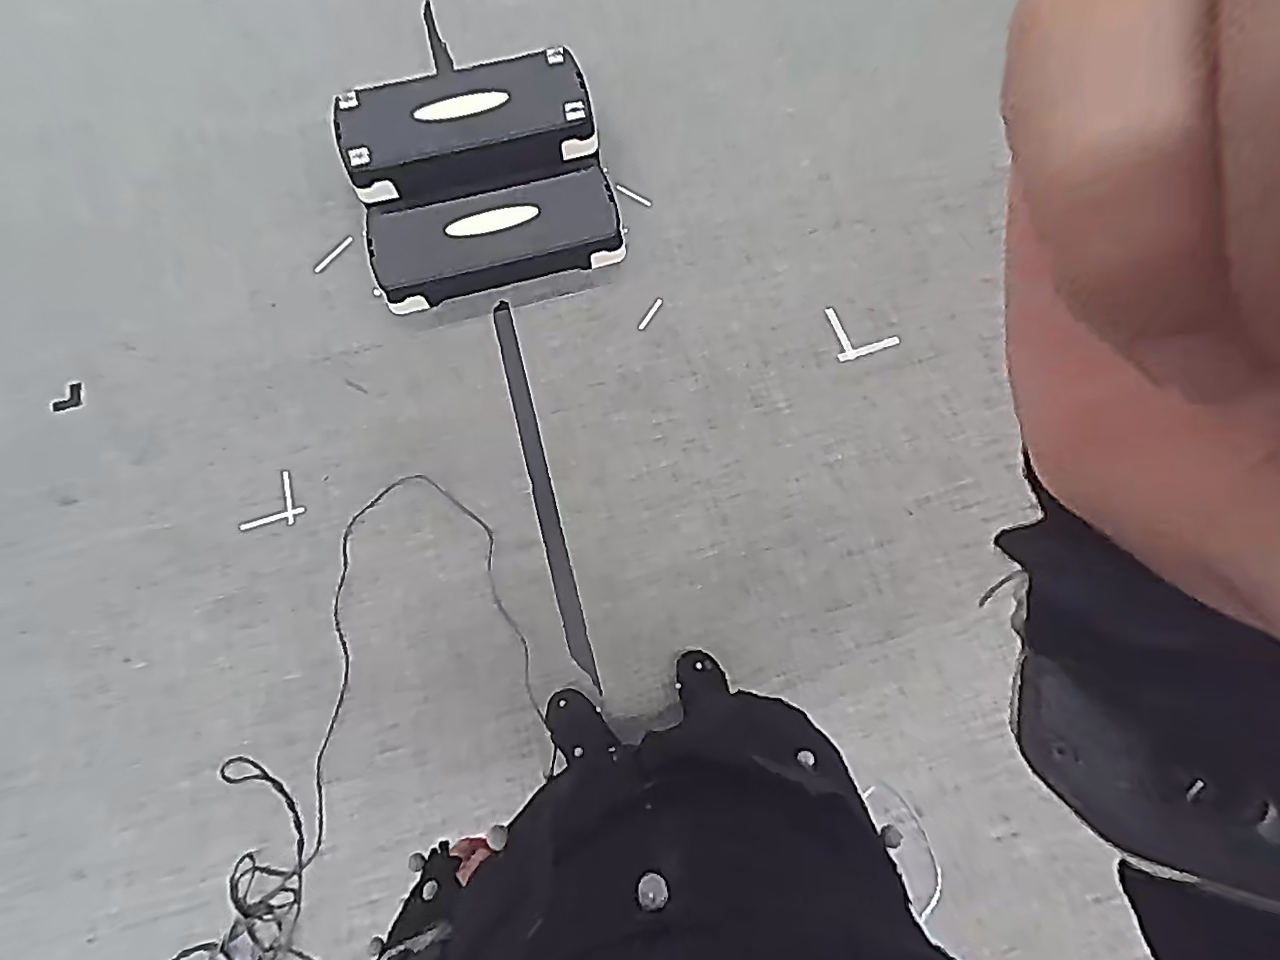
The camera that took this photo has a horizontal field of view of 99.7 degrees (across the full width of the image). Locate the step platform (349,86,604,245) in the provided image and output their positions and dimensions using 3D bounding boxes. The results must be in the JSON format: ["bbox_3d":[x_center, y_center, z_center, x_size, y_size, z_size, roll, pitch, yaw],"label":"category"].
[{"bbox_3d":[-0.451,-0.898,1.540,0.684,0.204,0.286,-11,72,-4],"label":"step platform"}]
